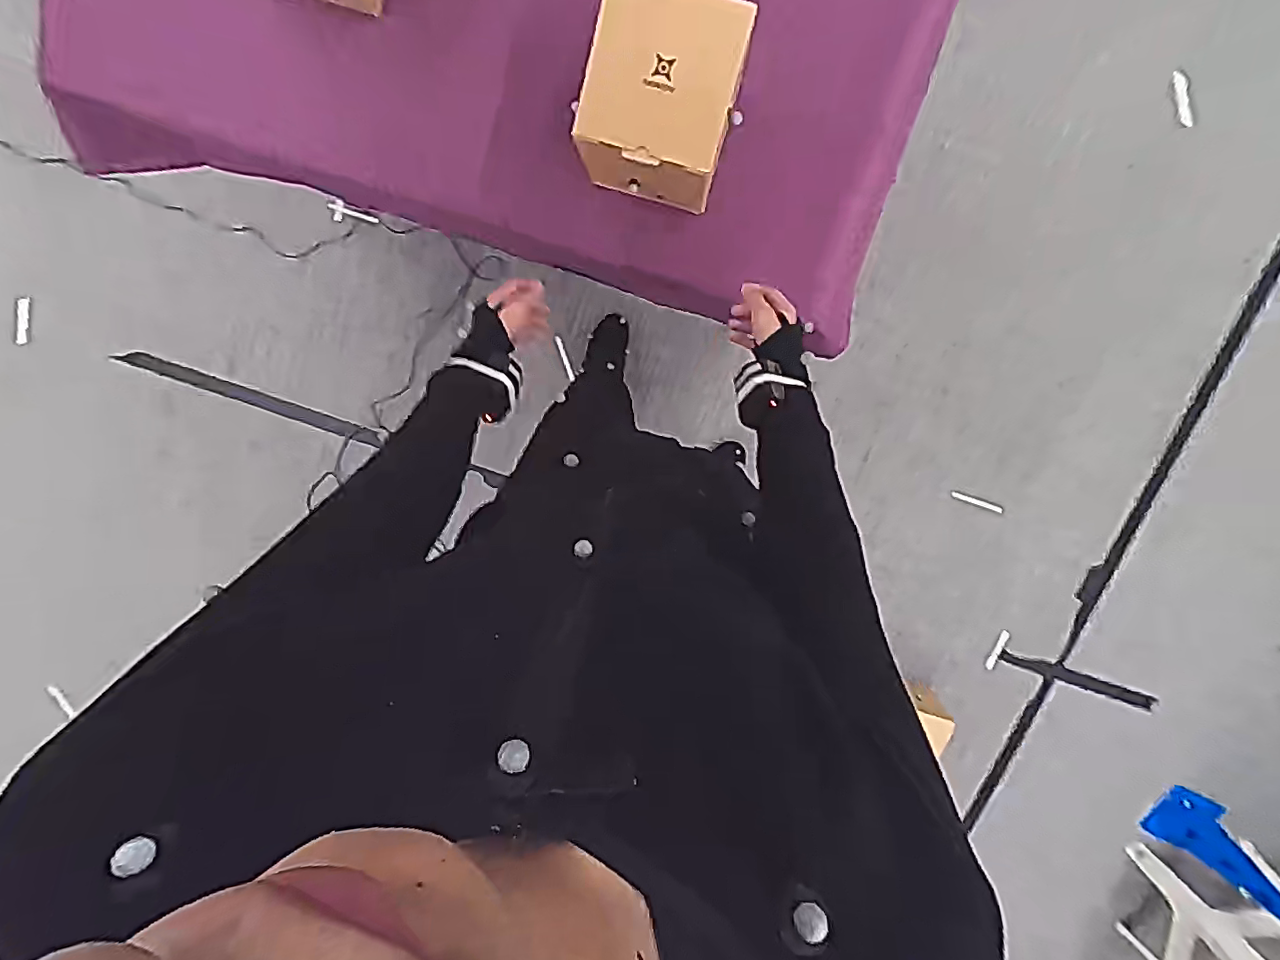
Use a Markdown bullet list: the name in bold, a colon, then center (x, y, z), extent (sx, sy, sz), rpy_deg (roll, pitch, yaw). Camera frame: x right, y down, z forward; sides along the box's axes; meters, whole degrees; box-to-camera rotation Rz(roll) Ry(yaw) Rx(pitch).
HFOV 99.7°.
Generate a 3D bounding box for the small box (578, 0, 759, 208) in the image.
- **small box**: center (0.031, -0.470, 0.674), extent (0.168, 0.176, 0.179), rpy_deg (16, 104, -1)

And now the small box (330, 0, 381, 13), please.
- **small box**: center (-0.411, -0.719, 0.638), extent (0.168, 0.176, 0.179), rpy_deg (17, 104, -1)
